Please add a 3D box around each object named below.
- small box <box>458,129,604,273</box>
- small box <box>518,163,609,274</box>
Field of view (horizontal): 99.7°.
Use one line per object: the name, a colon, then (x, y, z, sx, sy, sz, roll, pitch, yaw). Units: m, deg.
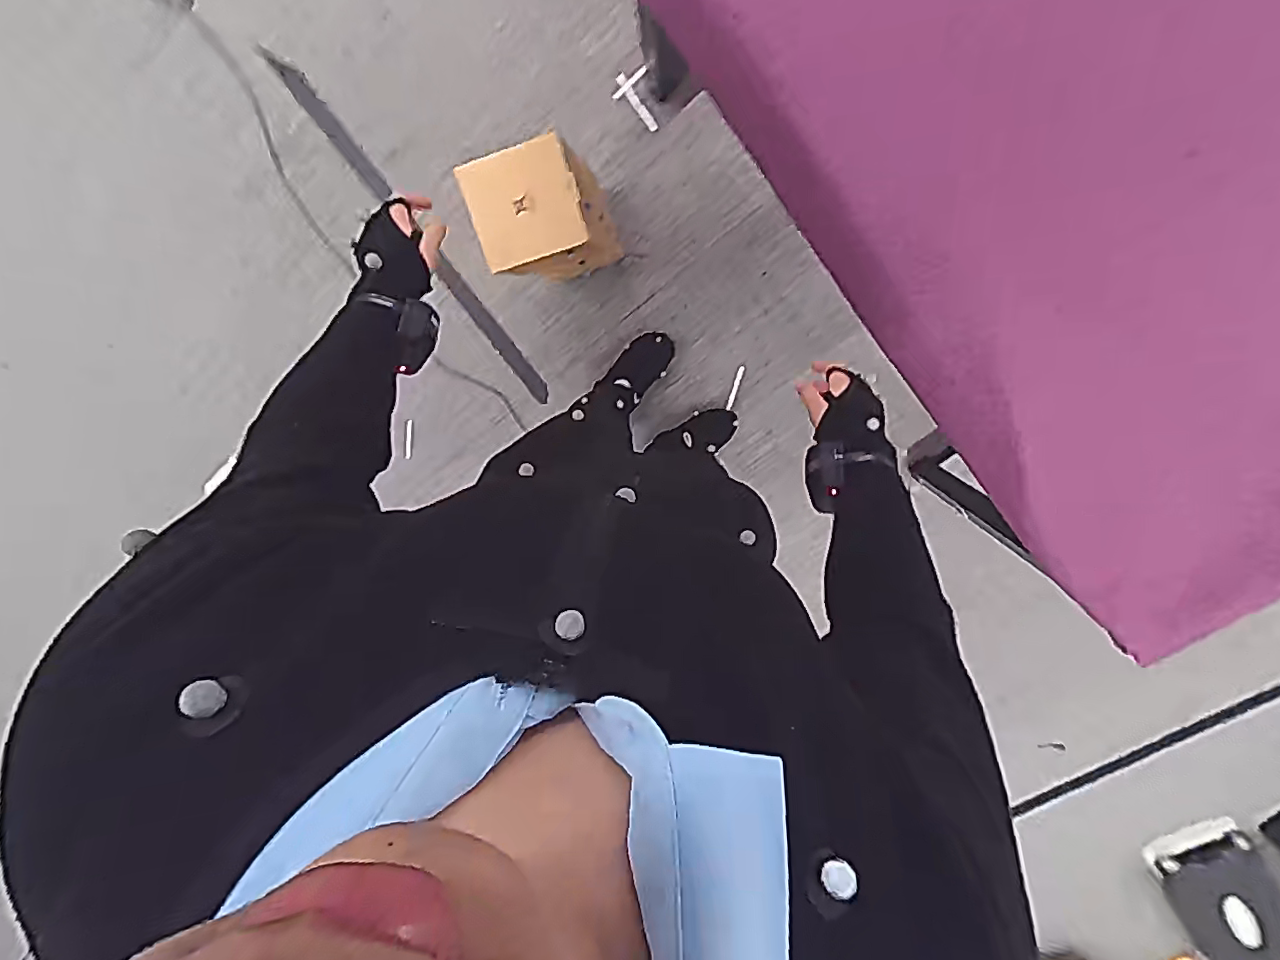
small box: (-0.176, -0.464, 0.931, 0.179, 0.176, 0.168, -16, 108, 10)
small box: (-0.161, -0.515, 1.086, 0.179, 0.176, 0.168, -8, 108, 7)
